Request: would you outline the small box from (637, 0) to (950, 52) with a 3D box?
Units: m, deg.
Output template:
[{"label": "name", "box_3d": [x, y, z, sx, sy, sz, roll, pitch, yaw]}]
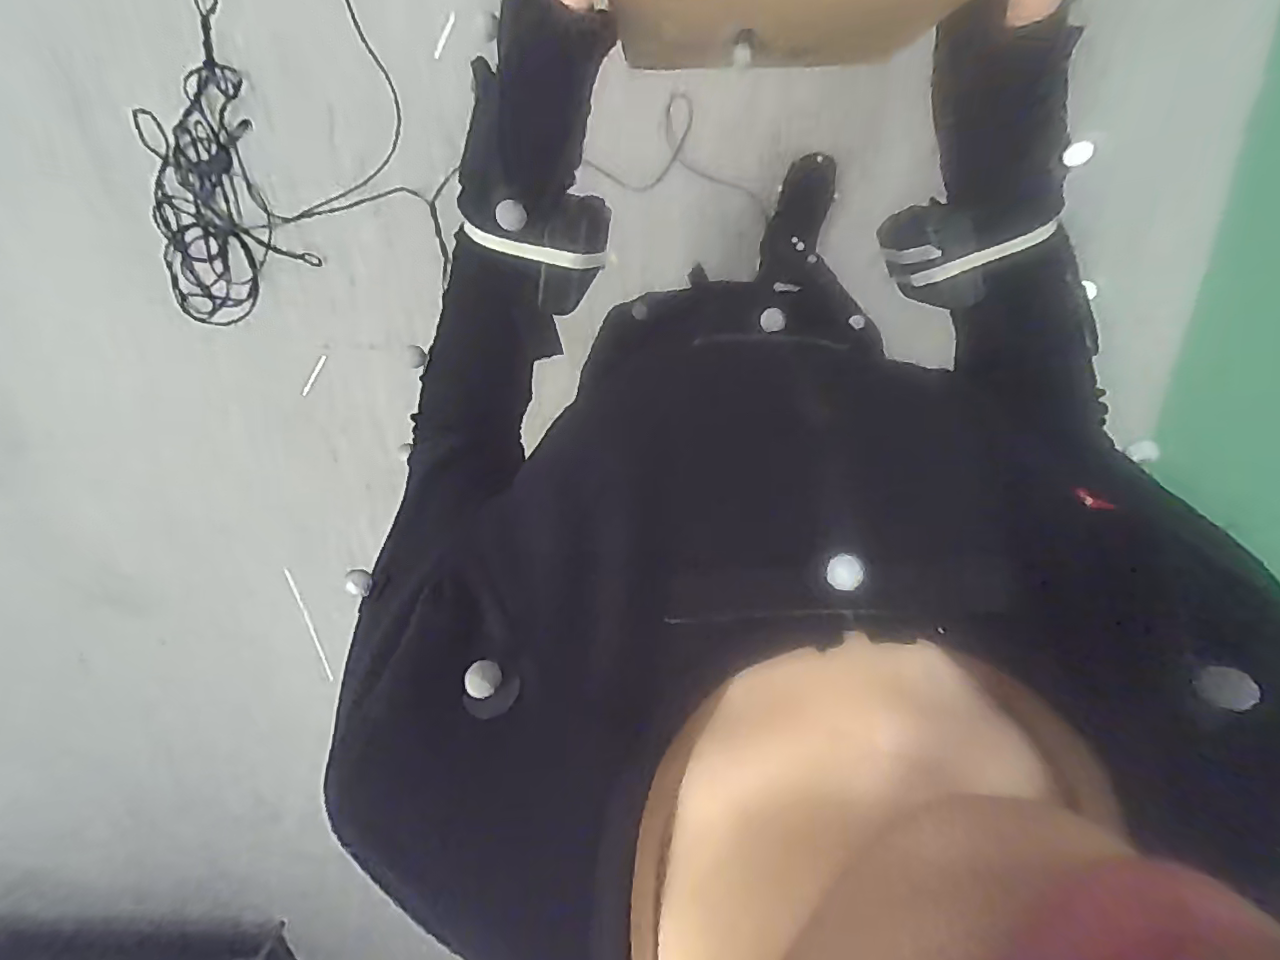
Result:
[{"label": "small box", "box_3d": [0.075, -0.313, 0.229, 0.168, 0.176, 0.179, 1, 117, 3]}]
